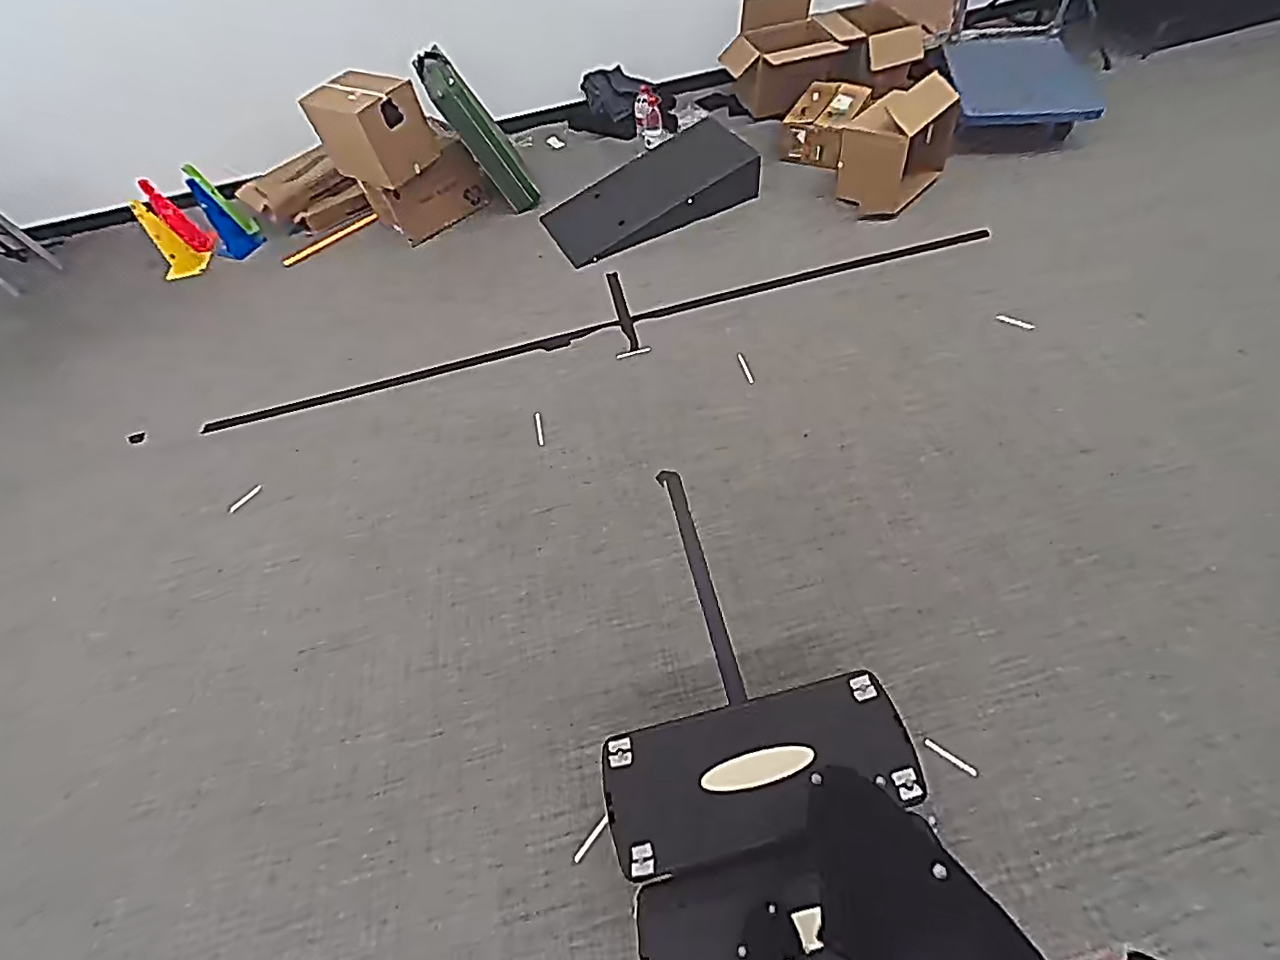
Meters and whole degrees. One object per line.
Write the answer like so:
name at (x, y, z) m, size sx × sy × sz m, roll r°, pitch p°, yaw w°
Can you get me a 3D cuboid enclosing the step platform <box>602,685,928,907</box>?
step platform at (0.258, 0.692, 1.211) m, size 0.684 × 0.204 × 0.286 m, roll -15°, pitch 57°, yaw -3°
